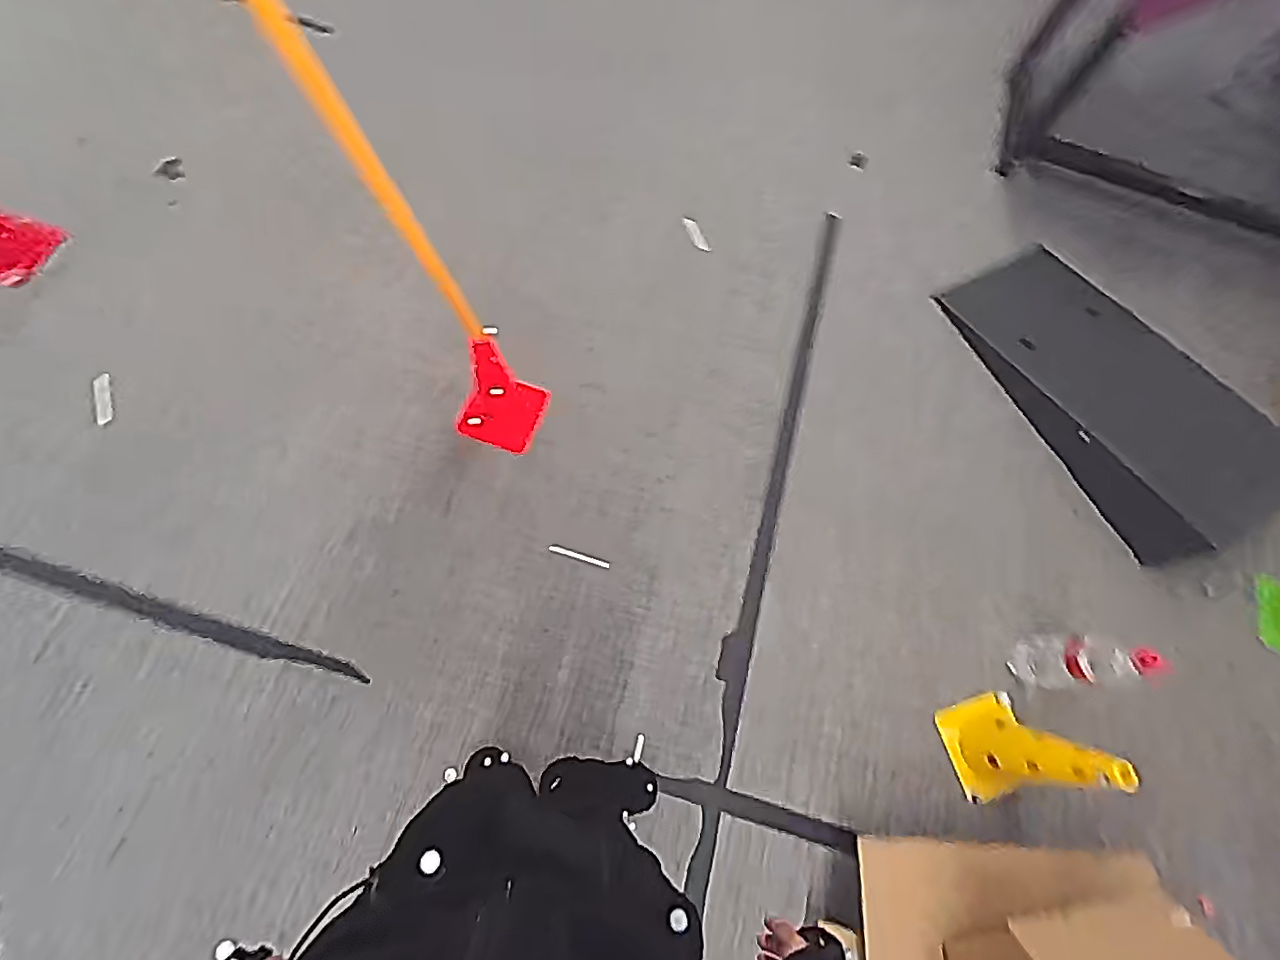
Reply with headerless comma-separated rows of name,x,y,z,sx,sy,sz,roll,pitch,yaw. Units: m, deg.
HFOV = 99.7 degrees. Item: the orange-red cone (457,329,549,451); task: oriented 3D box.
orange-red cone,-0.345,-0.241,1.276,0.199,0.360,0.198,21,71,1
